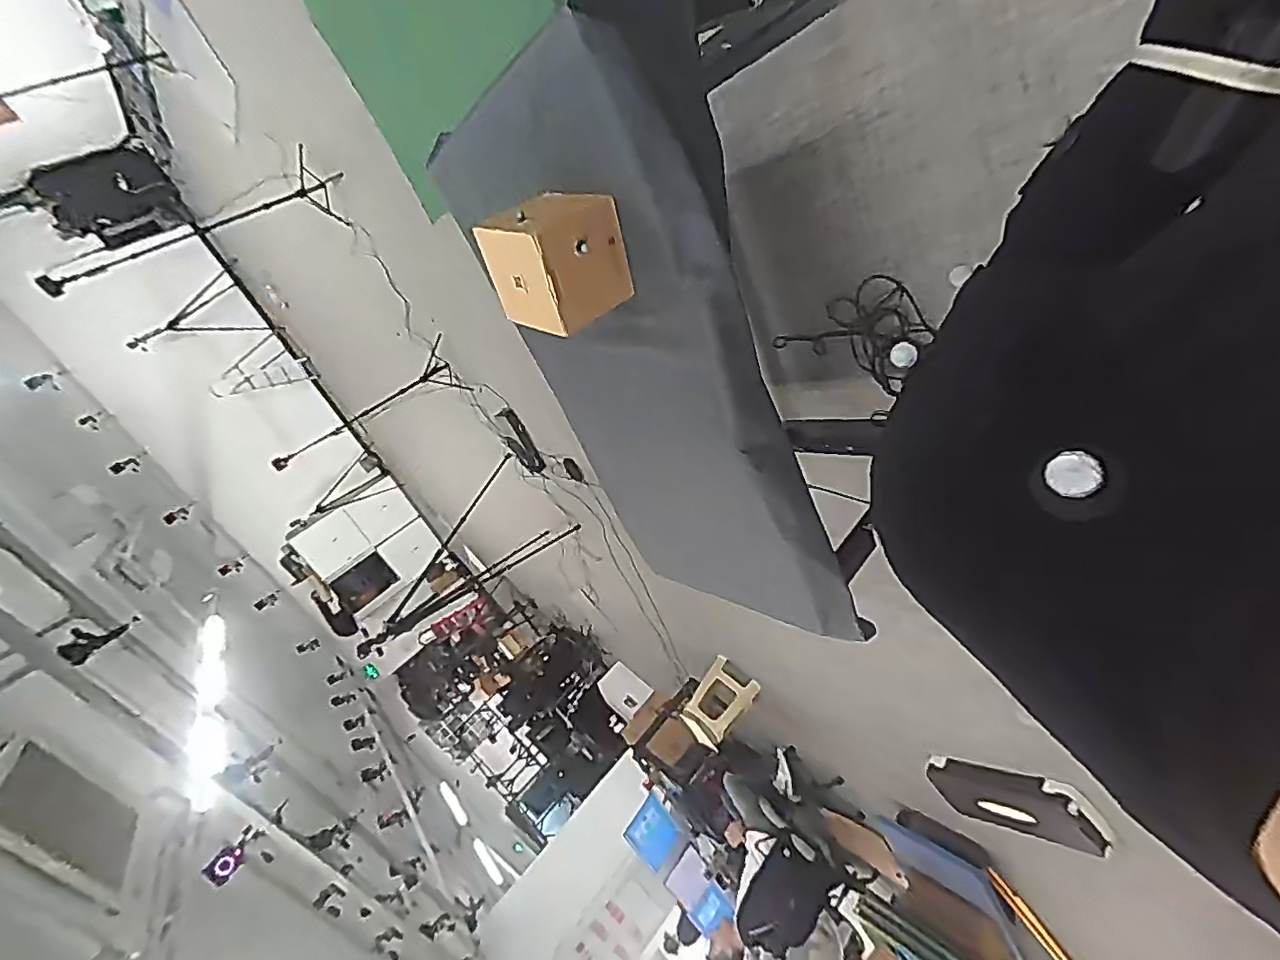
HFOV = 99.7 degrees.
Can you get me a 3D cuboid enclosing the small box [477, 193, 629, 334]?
[{"bbox_3d":[-0.136,-0.372,0.915,0.179,0.176,0.168,28,145,39],"label":"small box"}]
